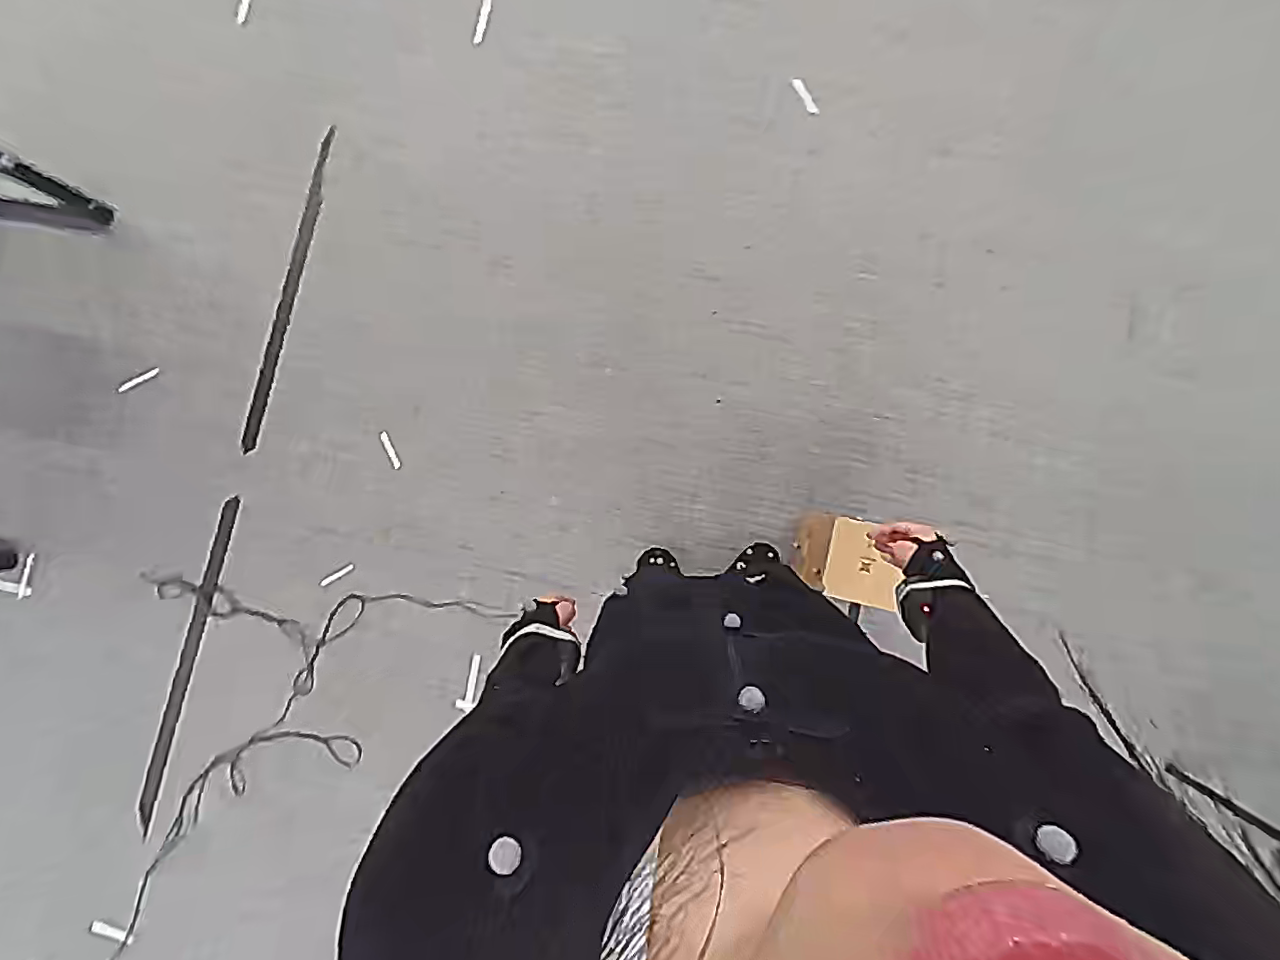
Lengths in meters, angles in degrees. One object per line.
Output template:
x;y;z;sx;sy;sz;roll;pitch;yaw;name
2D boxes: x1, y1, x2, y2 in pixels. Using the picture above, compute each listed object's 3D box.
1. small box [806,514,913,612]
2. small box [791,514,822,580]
0.486;0.180;1.225;0.168;0.176;0.179;13;87;5;small box
0.499;0.188;1.391;0.179;0.176;0.168;13;88;7;small box
